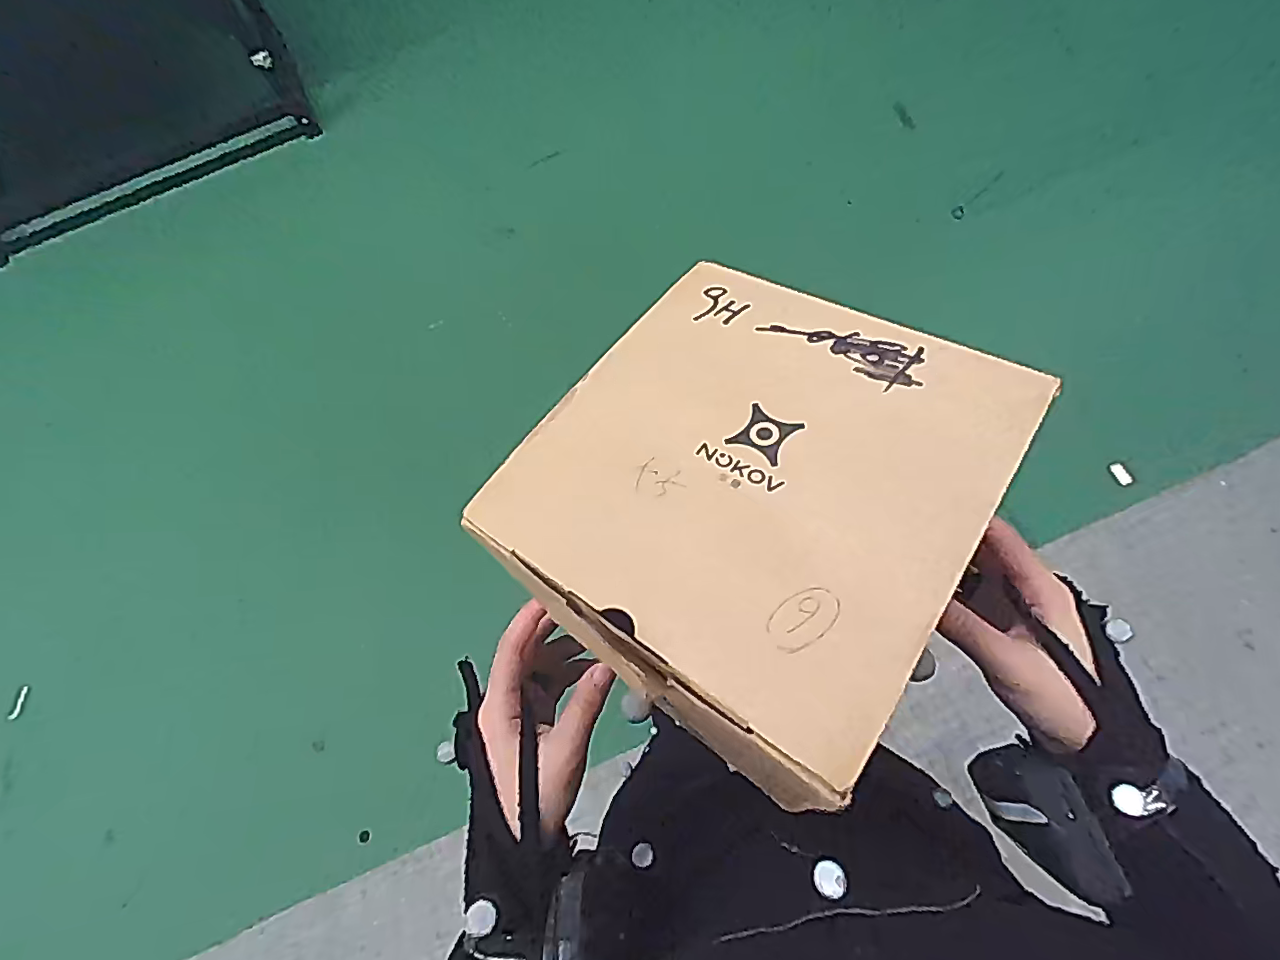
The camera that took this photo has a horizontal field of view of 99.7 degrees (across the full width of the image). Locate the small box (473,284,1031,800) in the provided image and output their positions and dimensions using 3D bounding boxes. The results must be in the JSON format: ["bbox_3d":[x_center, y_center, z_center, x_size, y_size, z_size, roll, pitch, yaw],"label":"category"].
[{"bbox_3d":[0.055,0.038,0.287,0.168,0.176,0.179,30,68,25],"label":"small box"}]
